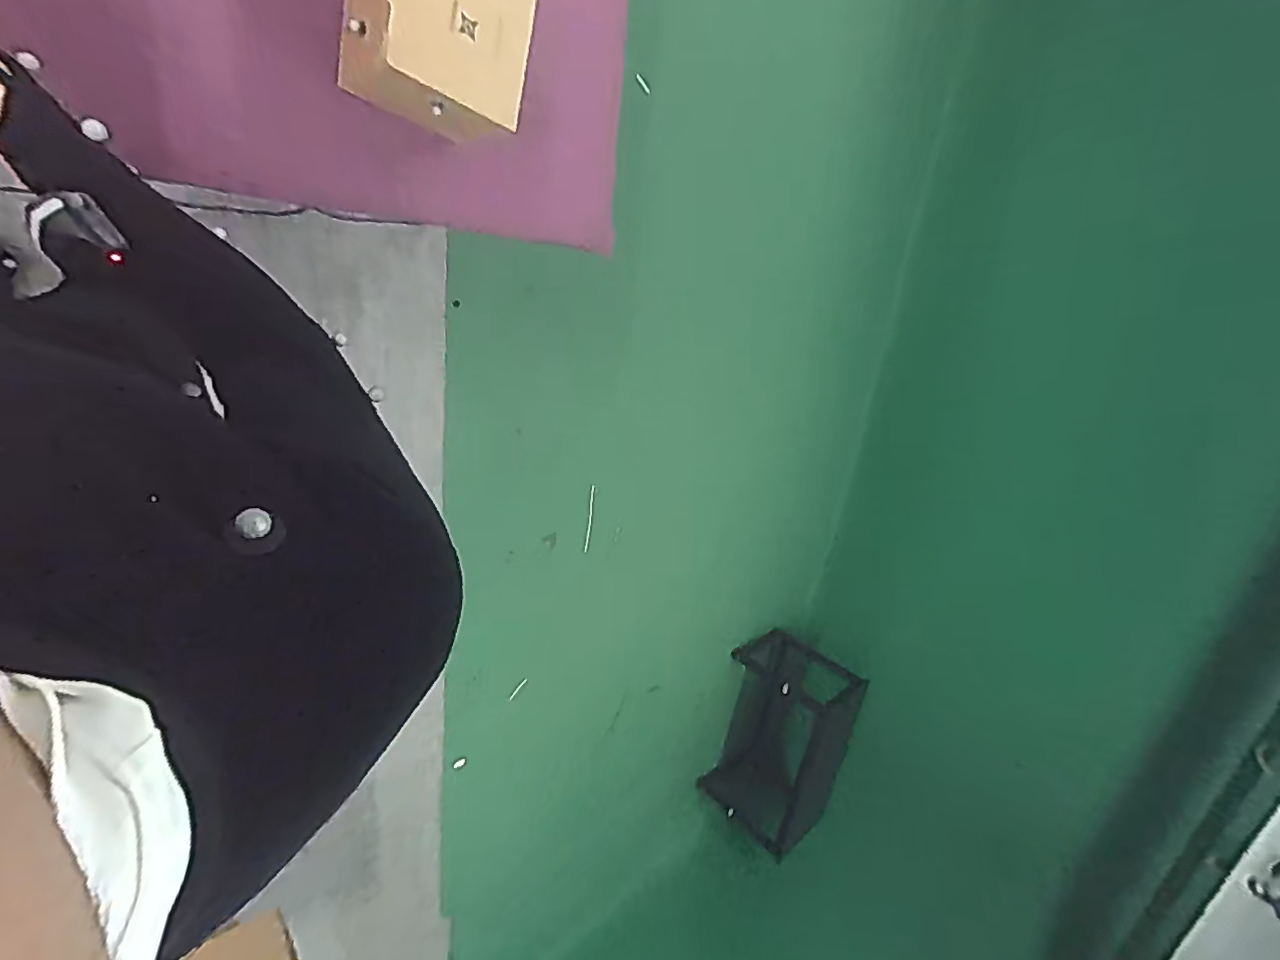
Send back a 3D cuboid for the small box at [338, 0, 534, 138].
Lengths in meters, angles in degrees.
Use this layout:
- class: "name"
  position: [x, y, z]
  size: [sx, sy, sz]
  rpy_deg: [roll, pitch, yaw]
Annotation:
- class: "small box"
  position: [-0.269, -0.570, 0.703]
  size: [0.179, 0.176, 0.168]
  rpy_deg: [0, 109, -47]
